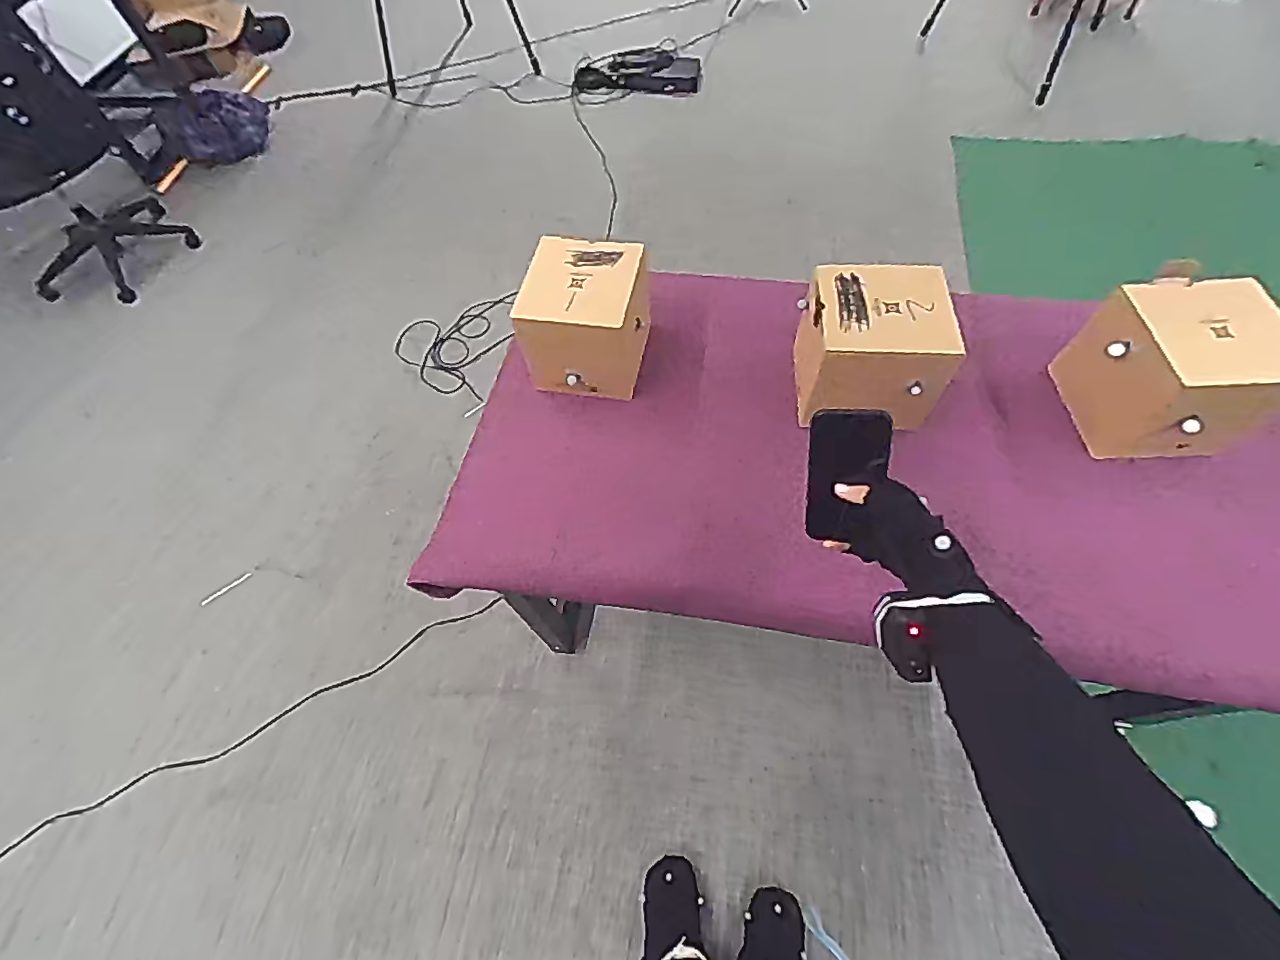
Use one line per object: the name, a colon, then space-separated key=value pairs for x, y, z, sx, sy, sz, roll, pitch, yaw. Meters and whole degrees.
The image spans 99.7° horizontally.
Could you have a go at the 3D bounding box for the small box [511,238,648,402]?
small box: x=-0.082 y=-0.250 z=0.855 sx=0.168 sy=0.176 sz=0.179 roll=8 pitch=63 yaw=9

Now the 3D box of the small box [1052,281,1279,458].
small box: x=0.715 y=-0.140 z=0.733 sx=0.168 sy=0.176 sz=0.179 roll=-2 pitch=59 yaw=4
